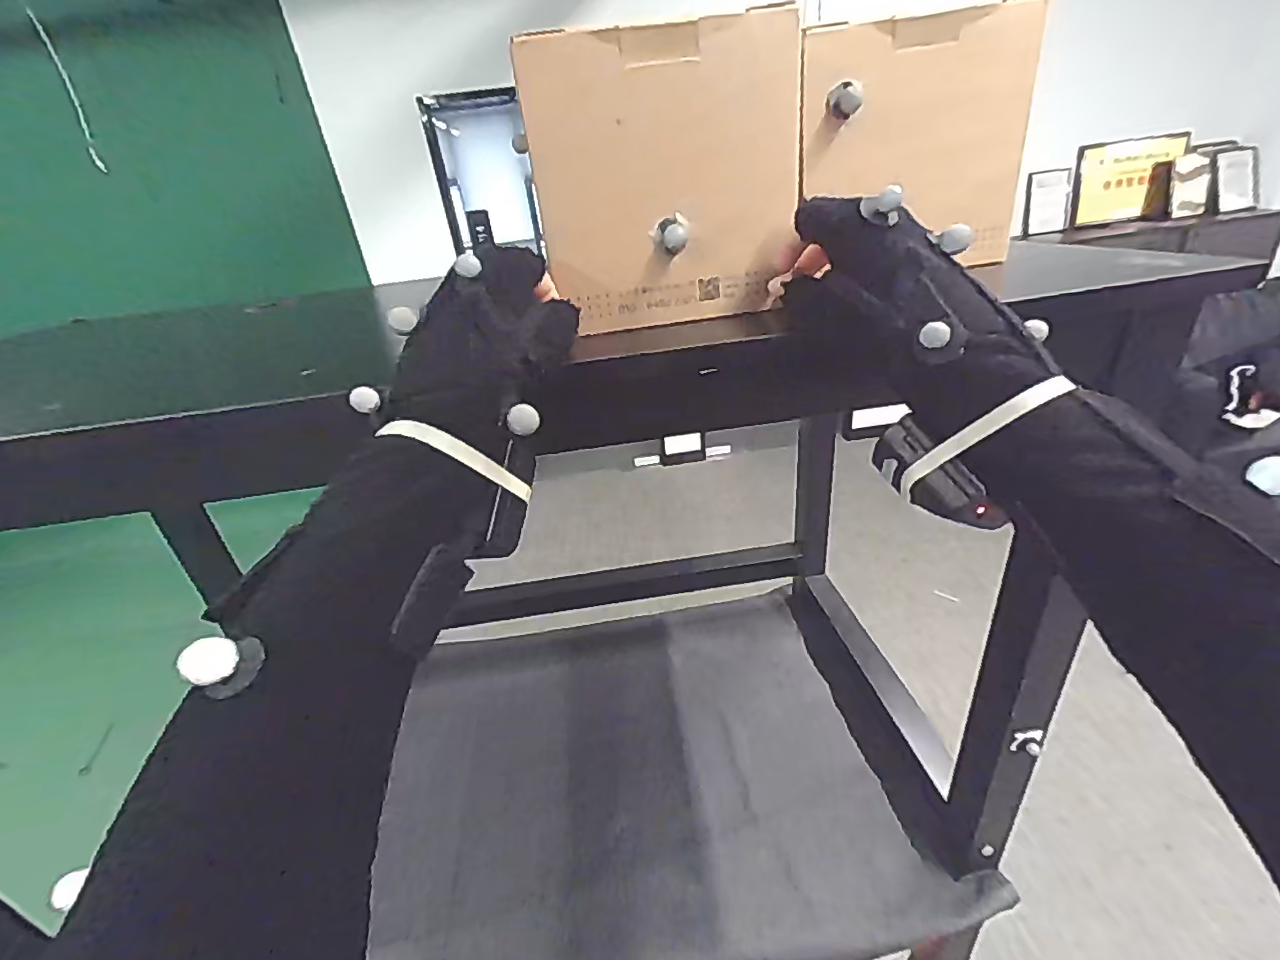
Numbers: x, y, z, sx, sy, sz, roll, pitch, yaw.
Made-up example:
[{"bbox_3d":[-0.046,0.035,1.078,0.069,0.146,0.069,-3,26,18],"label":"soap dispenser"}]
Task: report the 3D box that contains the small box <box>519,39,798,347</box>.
[{"bbox_3d":[0.011,-0.209,0.421,0.168,0.176,0.179,-9,28,-2],"label":"small box"}]
